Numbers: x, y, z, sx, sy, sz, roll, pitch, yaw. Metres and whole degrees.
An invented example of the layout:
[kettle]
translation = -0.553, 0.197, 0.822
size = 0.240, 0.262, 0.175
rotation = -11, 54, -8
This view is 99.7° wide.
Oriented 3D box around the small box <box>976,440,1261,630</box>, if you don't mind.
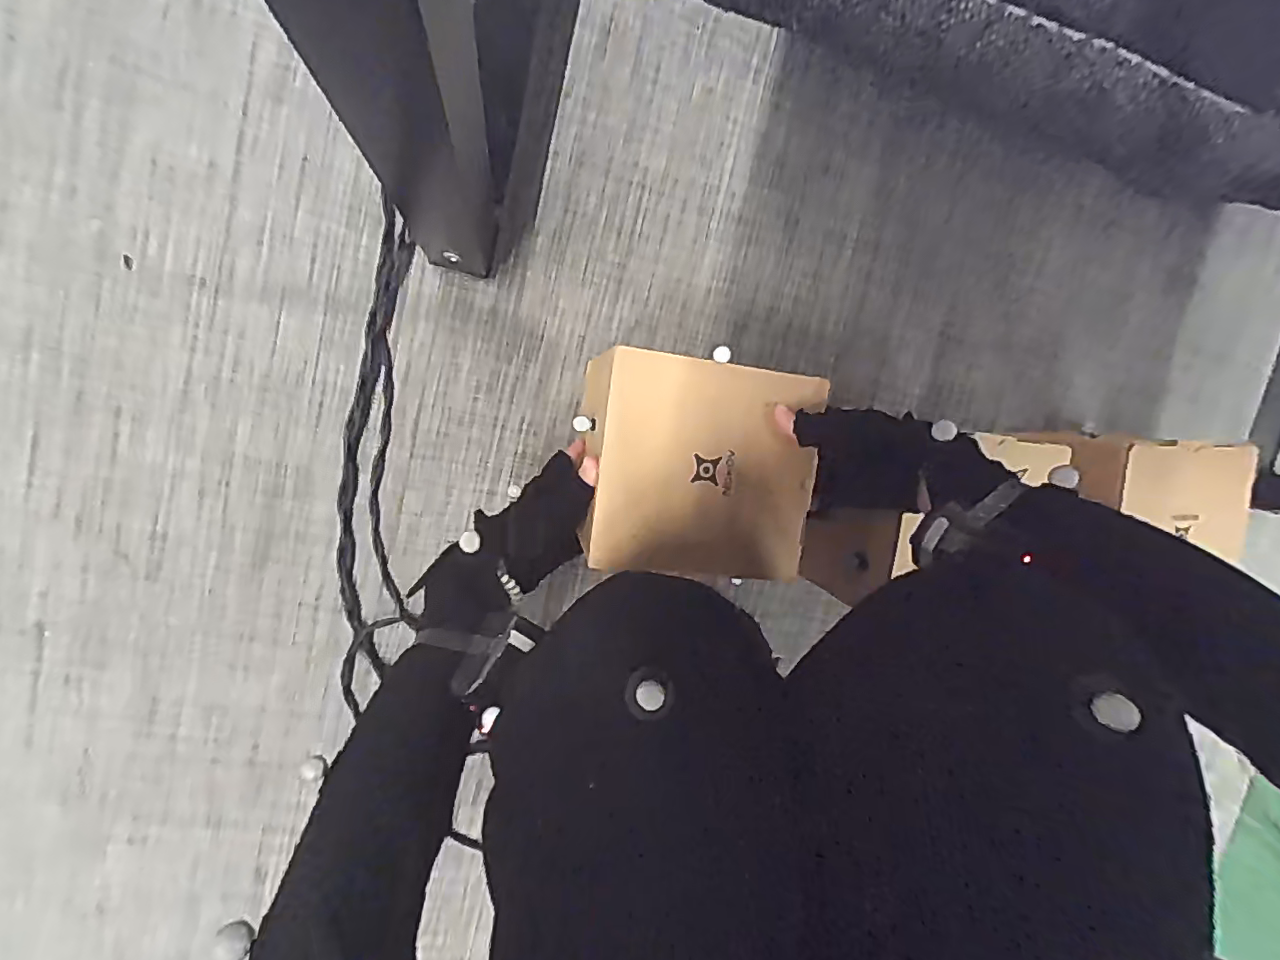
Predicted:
[small box]
translation = 0.507, 0.047, 0.596
size = 0.168, 0.176, 0.179
rotation = 0, 97, -13
